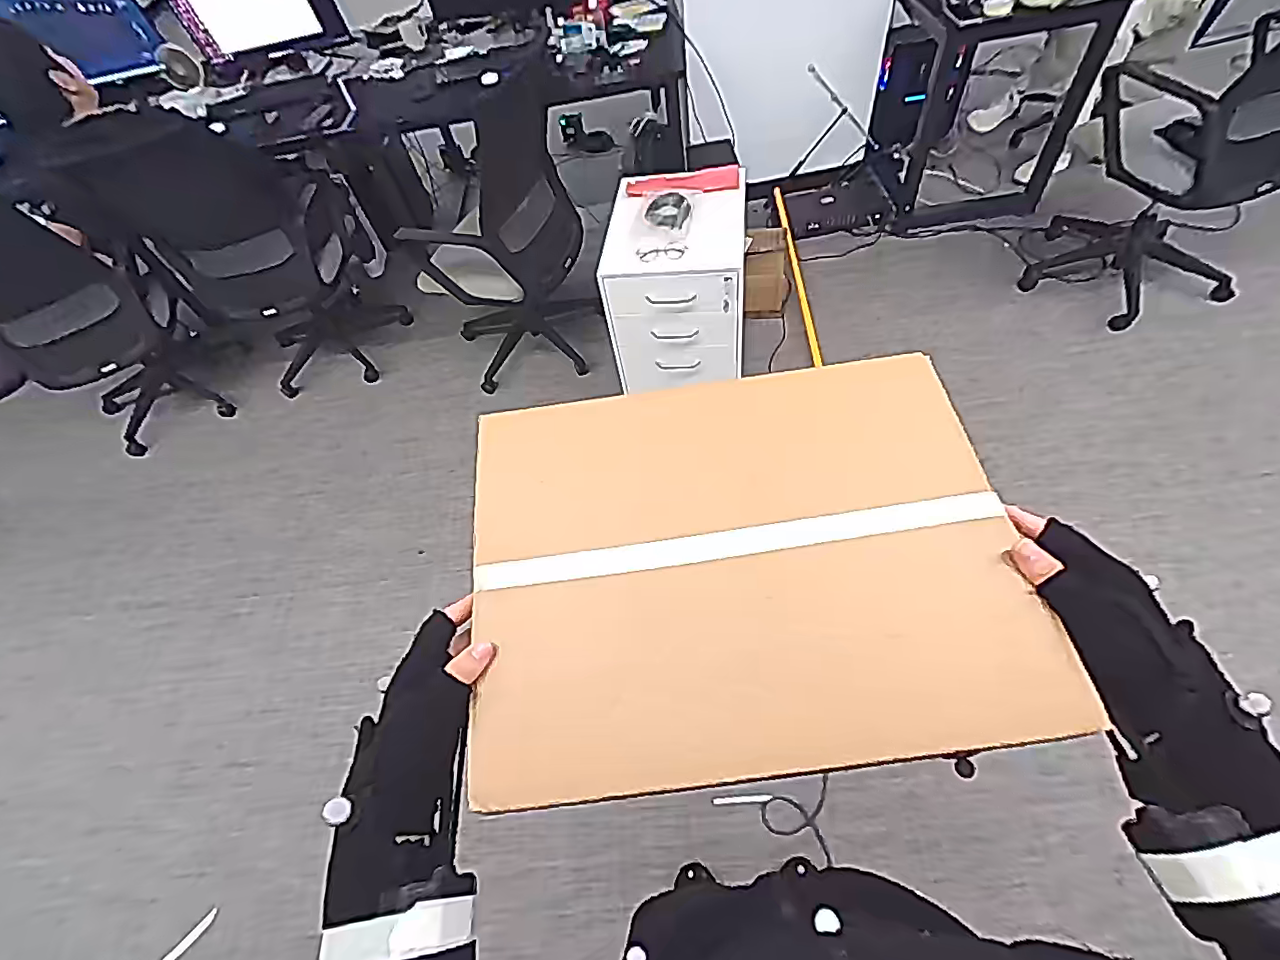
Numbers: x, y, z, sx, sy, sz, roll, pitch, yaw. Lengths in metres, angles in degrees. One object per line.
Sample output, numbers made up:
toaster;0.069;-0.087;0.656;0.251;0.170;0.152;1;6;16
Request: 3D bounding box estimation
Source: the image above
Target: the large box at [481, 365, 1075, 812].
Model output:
large box;0.086;0.125;0.554;0.408;0.320;0.320;-8;60;1
